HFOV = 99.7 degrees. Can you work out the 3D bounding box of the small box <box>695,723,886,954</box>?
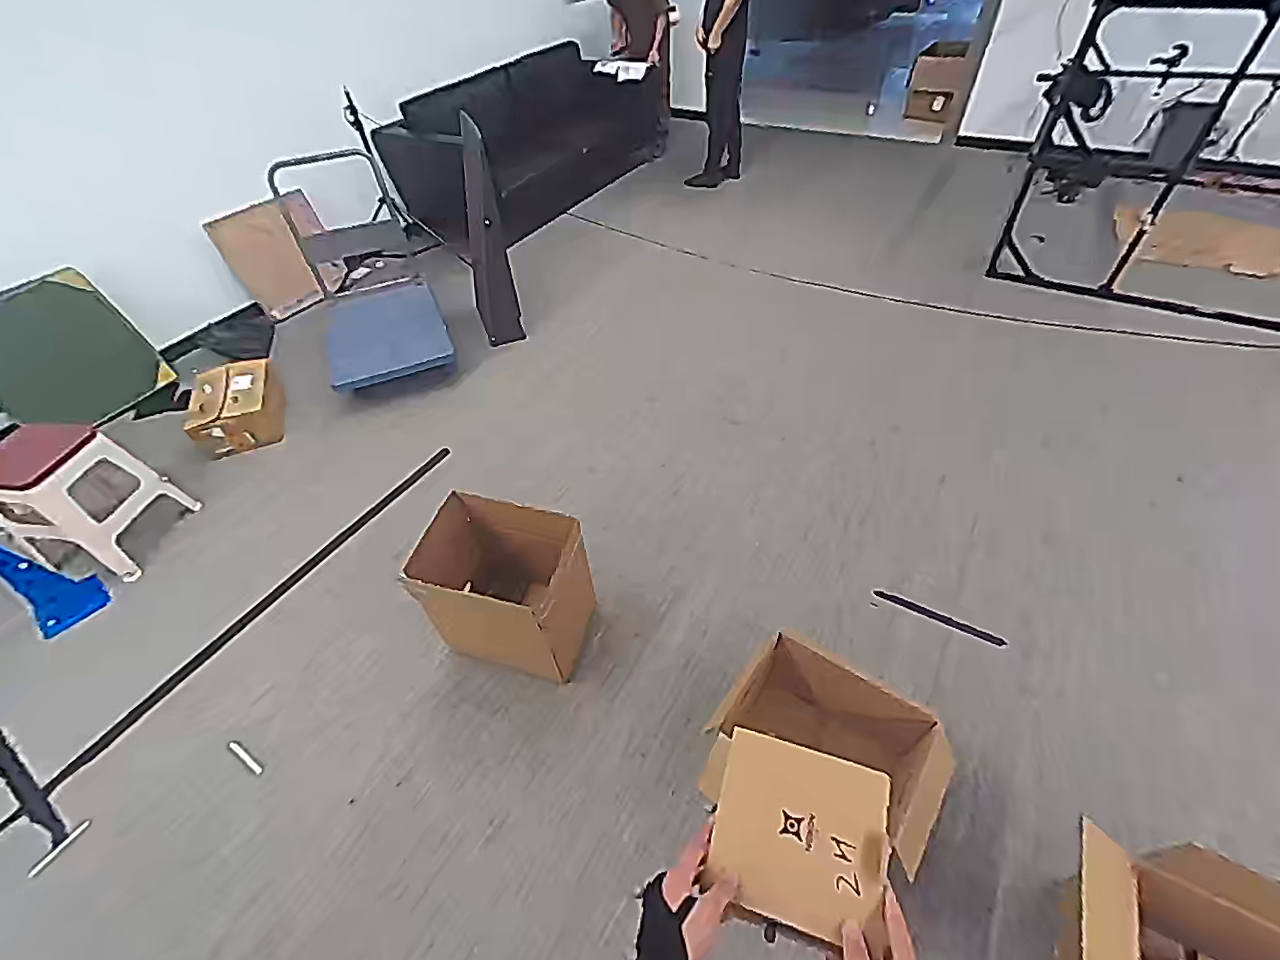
[{"bbox_3d":[0.167,0.413,0.623,0.179,0.176,0.168,12,51,14],"label":"small box"}]
